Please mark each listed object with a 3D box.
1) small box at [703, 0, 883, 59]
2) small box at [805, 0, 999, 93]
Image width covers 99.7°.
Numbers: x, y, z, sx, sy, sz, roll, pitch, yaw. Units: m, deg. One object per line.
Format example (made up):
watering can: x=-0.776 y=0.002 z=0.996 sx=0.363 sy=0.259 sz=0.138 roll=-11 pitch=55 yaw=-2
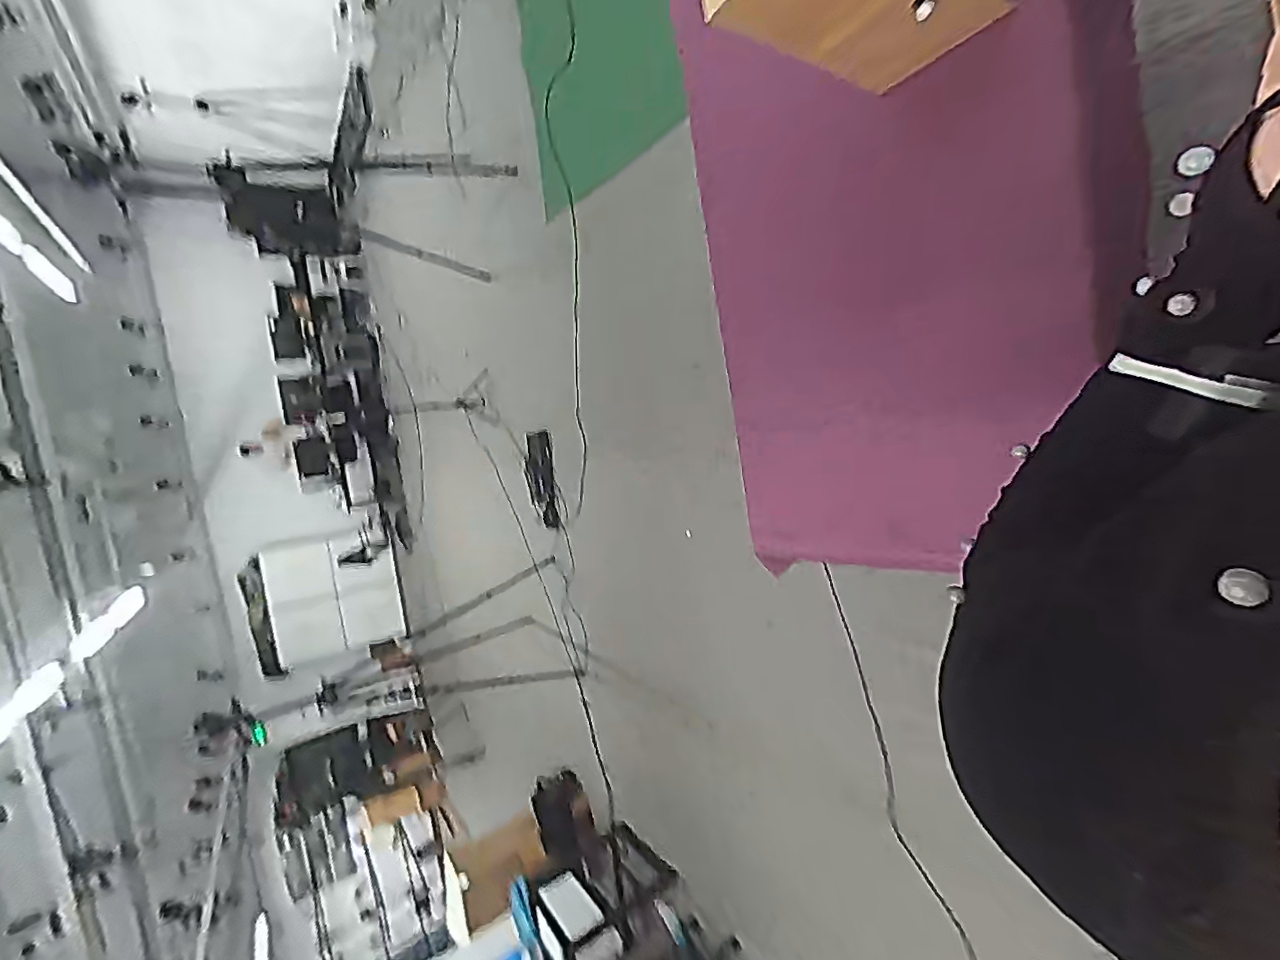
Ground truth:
small box: x=0.178 y=-0.597 z=0.571 sx=0.179 sy=0.176 sz=0.168 roll=-2 pitch=98 yaw=55
small box: x=0.315 y=-0.619 z=0.657 sx=0.179 sy=0.176 sz=0.168 roll=-2 pitch=98 yaw=56
